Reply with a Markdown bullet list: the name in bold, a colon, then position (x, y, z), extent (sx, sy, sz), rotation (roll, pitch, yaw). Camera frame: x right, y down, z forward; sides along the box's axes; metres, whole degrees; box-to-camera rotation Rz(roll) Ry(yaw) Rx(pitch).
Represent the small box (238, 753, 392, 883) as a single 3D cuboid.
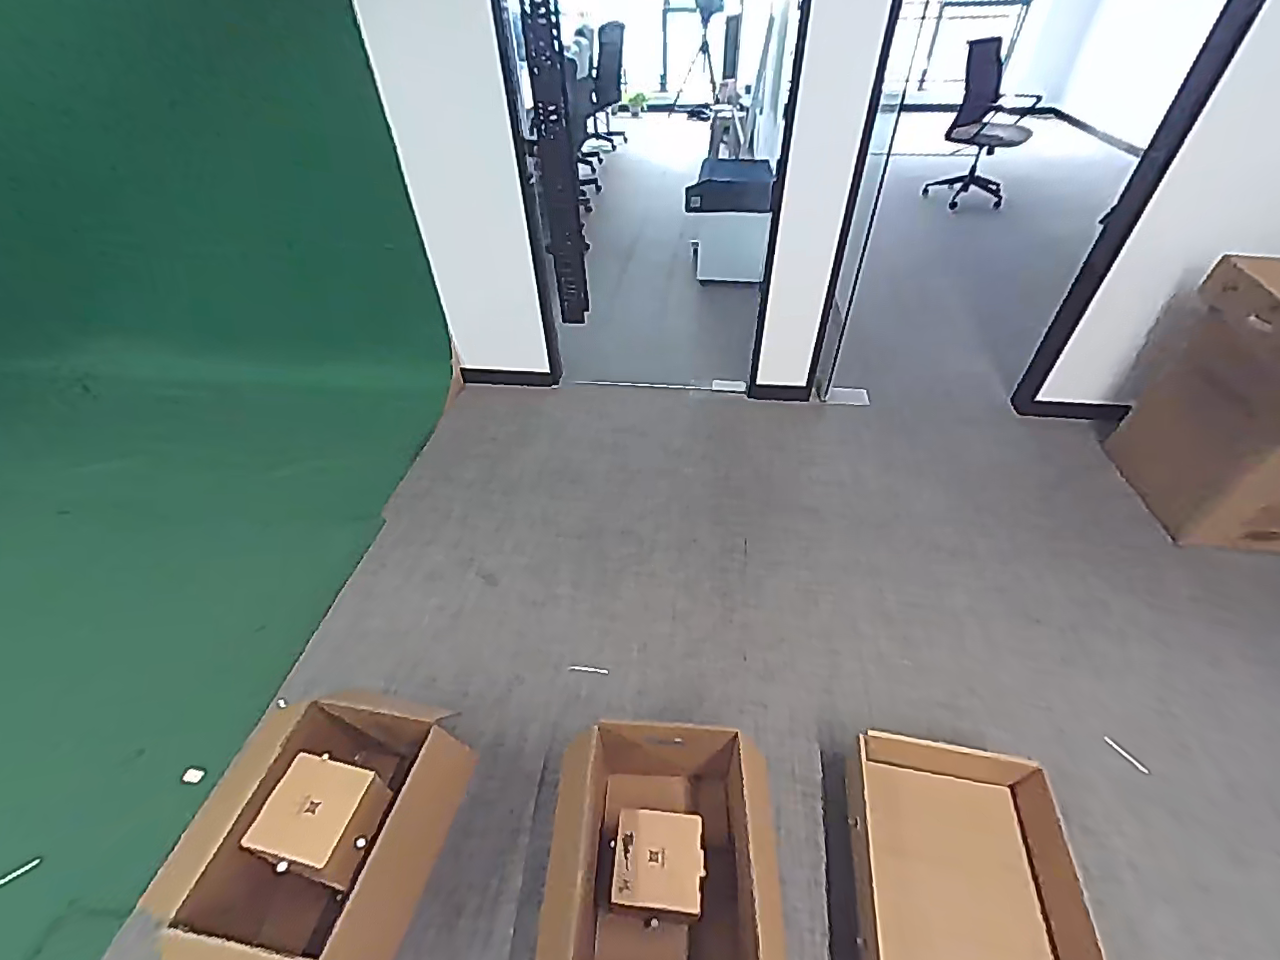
- **small box**: position (-0.630, 0.677, 1.079), extent (0.179, 0.176, 0.168), rotation (9, 43, 9)
